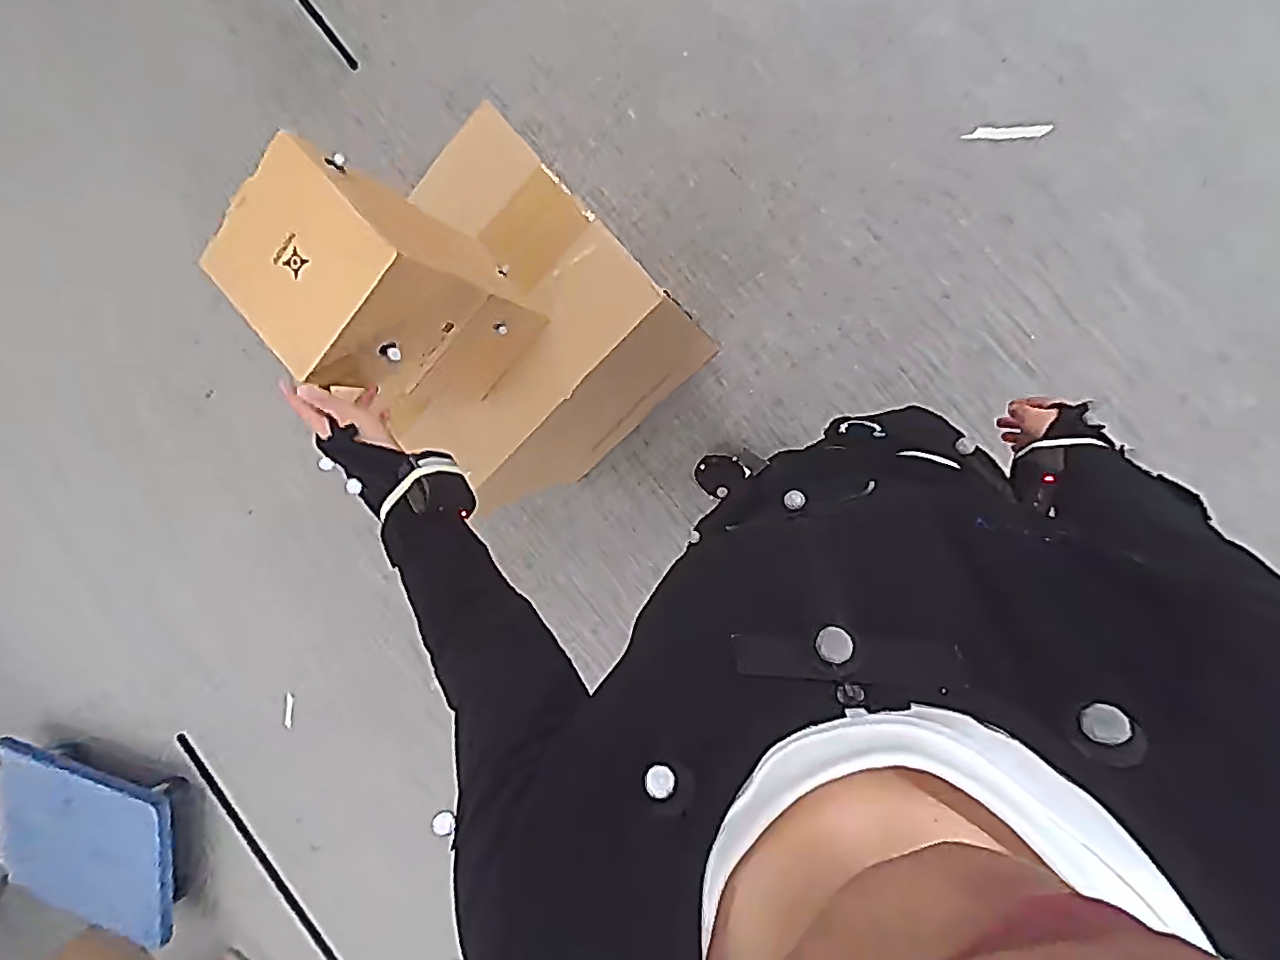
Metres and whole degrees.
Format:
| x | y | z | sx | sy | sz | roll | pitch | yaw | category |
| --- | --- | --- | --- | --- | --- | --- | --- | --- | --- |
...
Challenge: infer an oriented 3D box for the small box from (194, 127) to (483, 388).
| x | y | z | sx | sy | sz | roll | pitch | yaw | category |
| --- | --- | --- | --- | --- | --- | --- | --- | --- | --- |
| -0.306 | -0.215 | 0.579 | 0.168 | 0.176 | 0.179 | -44 | 83 | 15 | small box |
